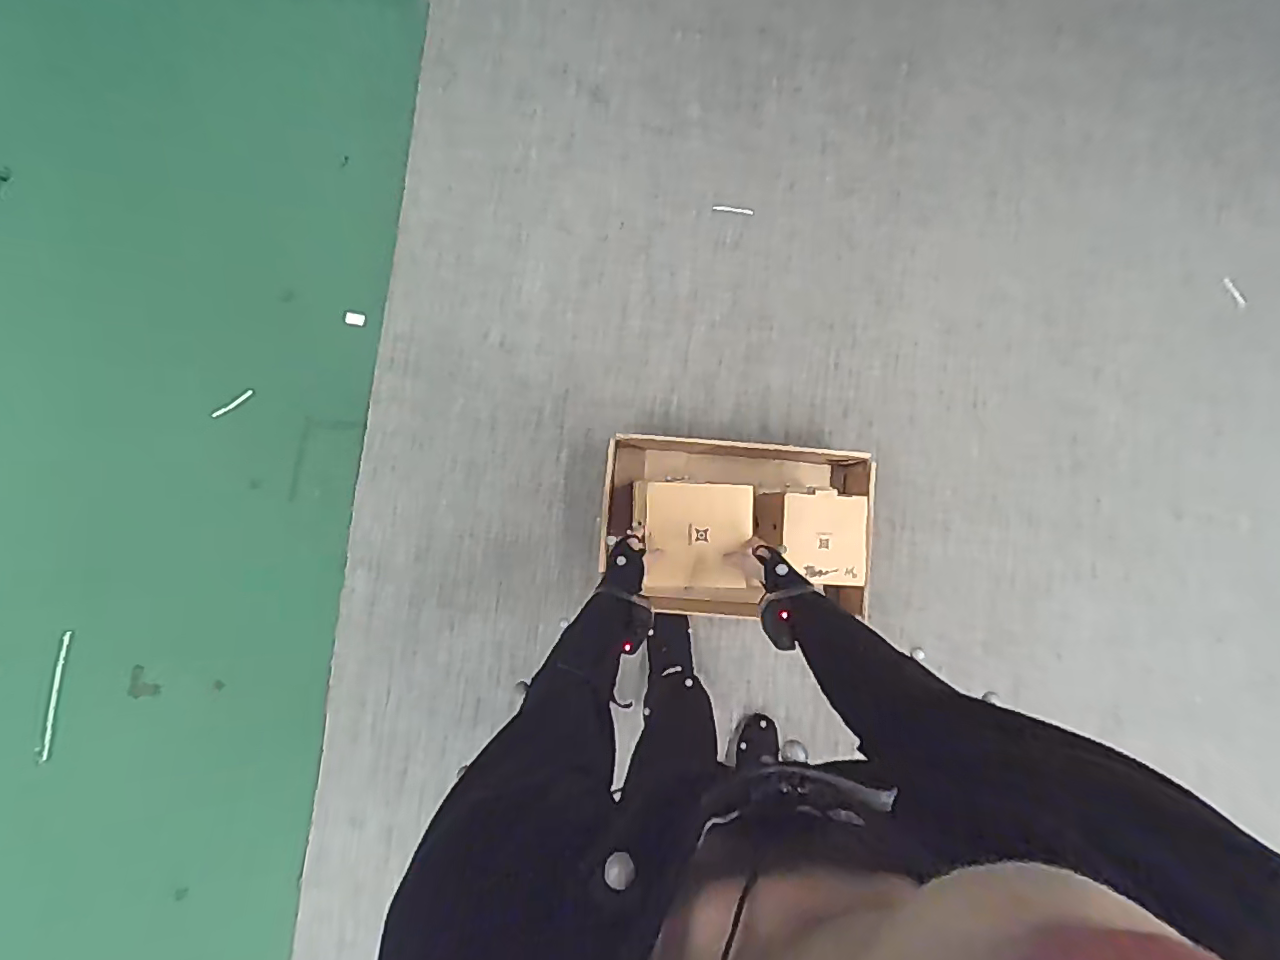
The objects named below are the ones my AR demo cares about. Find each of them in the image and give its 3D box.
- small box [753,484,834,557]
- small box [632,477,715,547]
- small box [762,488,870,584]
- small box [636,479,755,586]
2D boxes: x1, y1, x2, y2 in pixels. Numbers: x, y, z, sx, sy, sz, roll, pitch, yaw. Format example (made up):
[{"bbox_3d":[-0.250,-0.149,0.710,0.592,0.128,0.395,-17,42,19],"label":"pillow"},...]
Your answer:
[{"bbox_3d":[0.344,0.096,1.277,0.179,0.176,0.168,0,88,-1],"label":"small box"},{"bbox_3d":[0.074,0.081,1.269,0.179,0.176,0.168,2,88,-5],"label":"small box"},{"bbox_3d":[0.353,0.112,1.113,0.168,0.176,0.179,4,87,-1],"label":"small box"},{"bbox_3d":[0.088,0.087,0.930,0.179,0.176,0.168,2,85,-4],"label":"small box"}]
